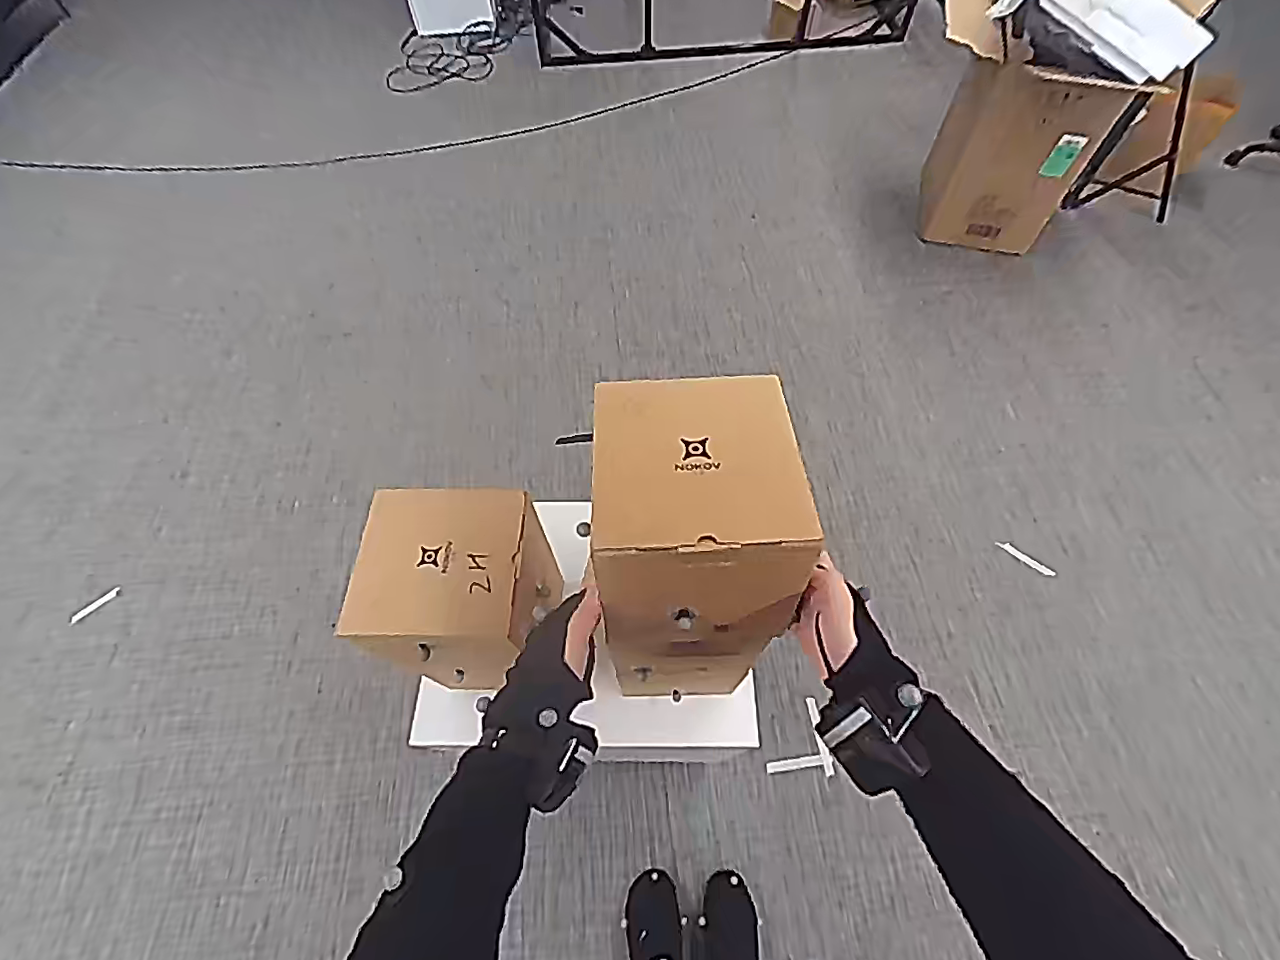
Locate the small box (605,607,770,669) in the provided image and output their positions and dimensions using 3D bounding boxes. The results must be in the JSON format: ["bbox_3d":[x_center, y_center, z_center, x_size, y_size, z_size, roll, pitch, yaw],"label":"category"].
[{"bbox_3d":[0.050,0.122,0.637,0.168,0.176,0.179,-2,60,1],"label":"small box"}]

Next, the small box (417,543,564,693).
[{"bbox_3d":[-0.207,0.201,0.786,0.168,0.176,0.179,1,60,2],"label":"small box"}]

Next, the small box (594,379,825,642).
[{"bbox_3d":[0.047,0.030,0.490,0.168,0.176,0.179,-2,53,0],"label":"small box"}]

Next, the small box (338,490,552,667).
[{"bbox_3d":[-0.211,0.123,0.641,0.179,0.176,0.168,0,62,1],"label":"small box"}]
